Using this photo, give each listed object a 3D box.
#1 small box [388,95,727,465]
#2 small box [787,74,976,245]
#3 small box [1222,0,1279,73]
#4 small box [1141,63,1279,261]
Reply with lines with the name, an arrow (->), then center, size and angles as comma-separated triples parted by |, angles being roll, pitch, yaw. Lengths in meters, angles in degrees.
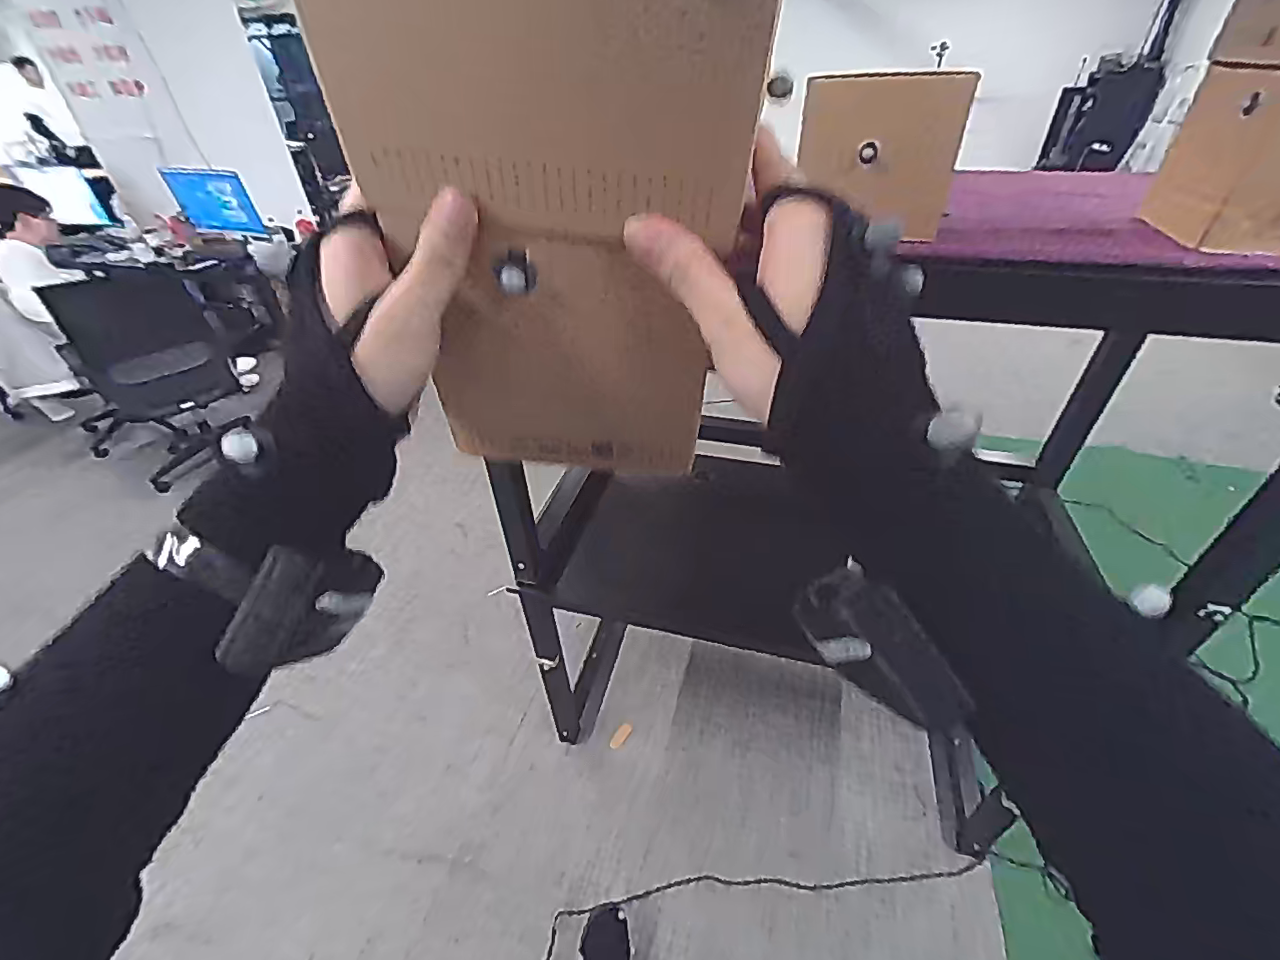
small box -> -0.036, -0.135, 0.370 | 0.168, 0.176, 0.179 | 5, 50, 3
small box -> 0.292, -0.404, 0.685 | 0.179, 0.176, 0.168 | 9, 38, 16
small box -> 0.693, -0.473, 0.483 | 0.179, 0.176, 0.168 | 8, 40, 15
small box -> 0.709, -0.347, 0.589 | 0.168, 0.176, 0.179 | 9, 40, 15
